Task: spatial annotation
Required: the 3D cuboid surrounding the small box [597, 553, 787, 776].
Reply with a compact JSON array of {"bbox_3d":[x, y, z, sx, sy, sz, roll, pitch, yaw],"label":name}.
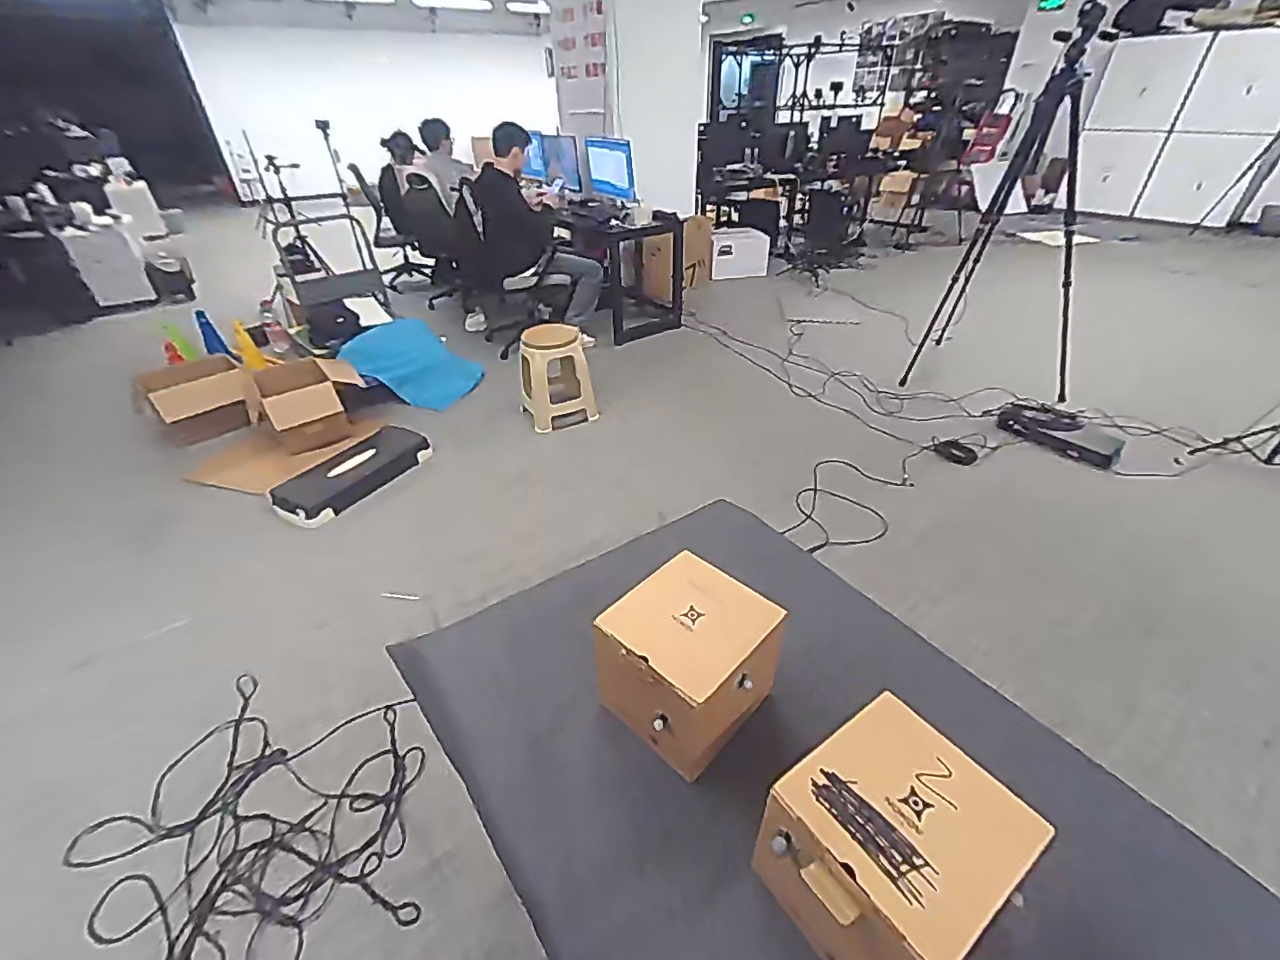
[{"bbox_3d":[0.065,0.234,0.700,0.168,0.176,0.179,29,44,34],"label":"small box"}]
